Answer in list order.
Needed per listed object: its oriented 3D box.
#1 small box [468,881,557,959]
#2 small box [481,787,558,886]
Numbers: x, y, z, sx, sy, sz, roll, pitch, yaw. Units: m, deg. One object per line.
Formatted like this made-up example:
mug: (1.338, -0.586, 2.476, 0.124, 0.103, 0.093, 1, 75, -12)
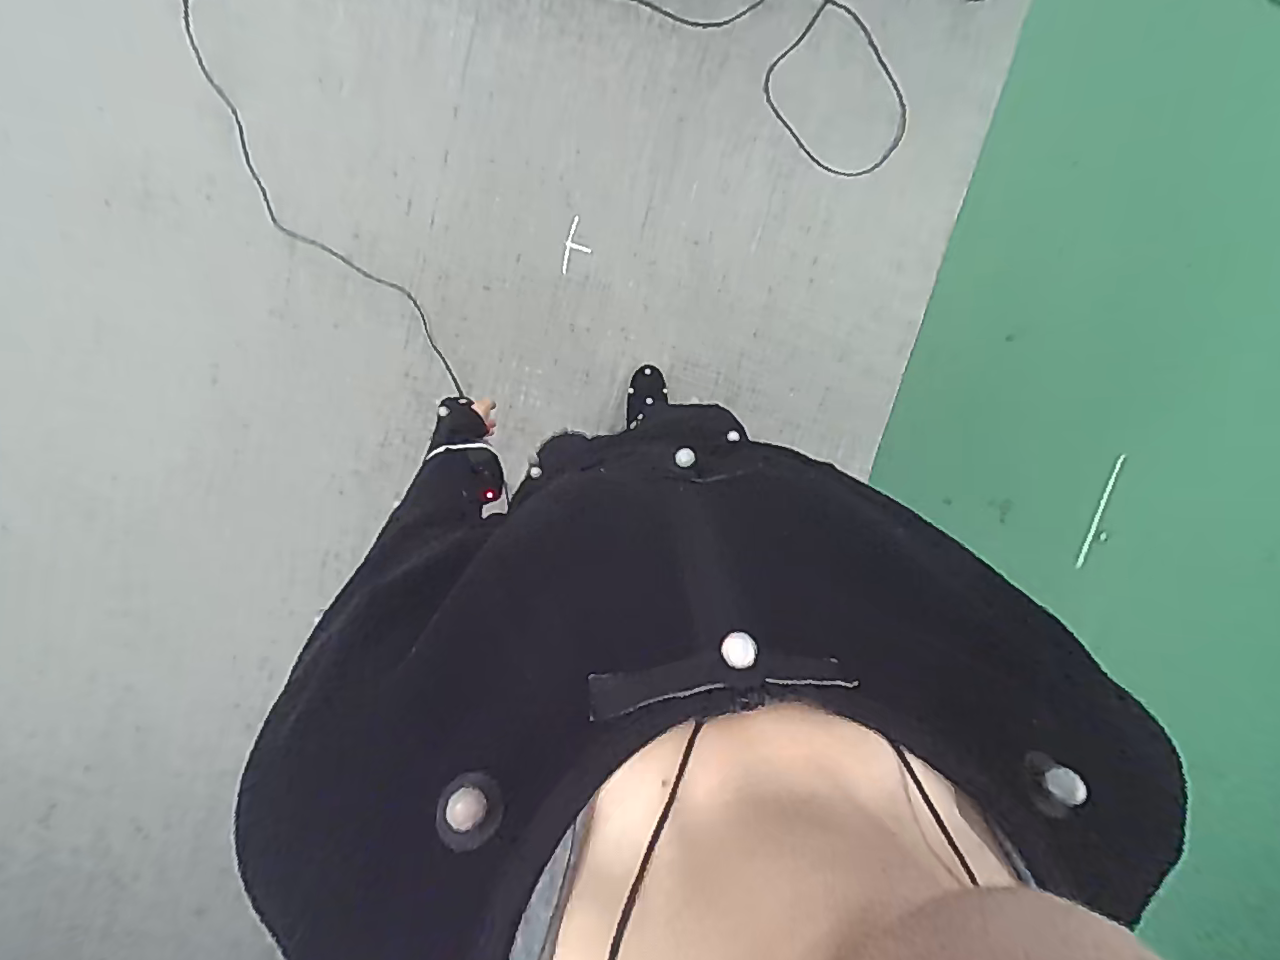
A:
small box: (-0.294, 1.059, 1.230, 0.179, 0.176, 0.168, 14, 98, -10)
small box: (-0.339, 1.018, 1.553, 0.179, 0.176, 0.168, 14, 97, -9)
